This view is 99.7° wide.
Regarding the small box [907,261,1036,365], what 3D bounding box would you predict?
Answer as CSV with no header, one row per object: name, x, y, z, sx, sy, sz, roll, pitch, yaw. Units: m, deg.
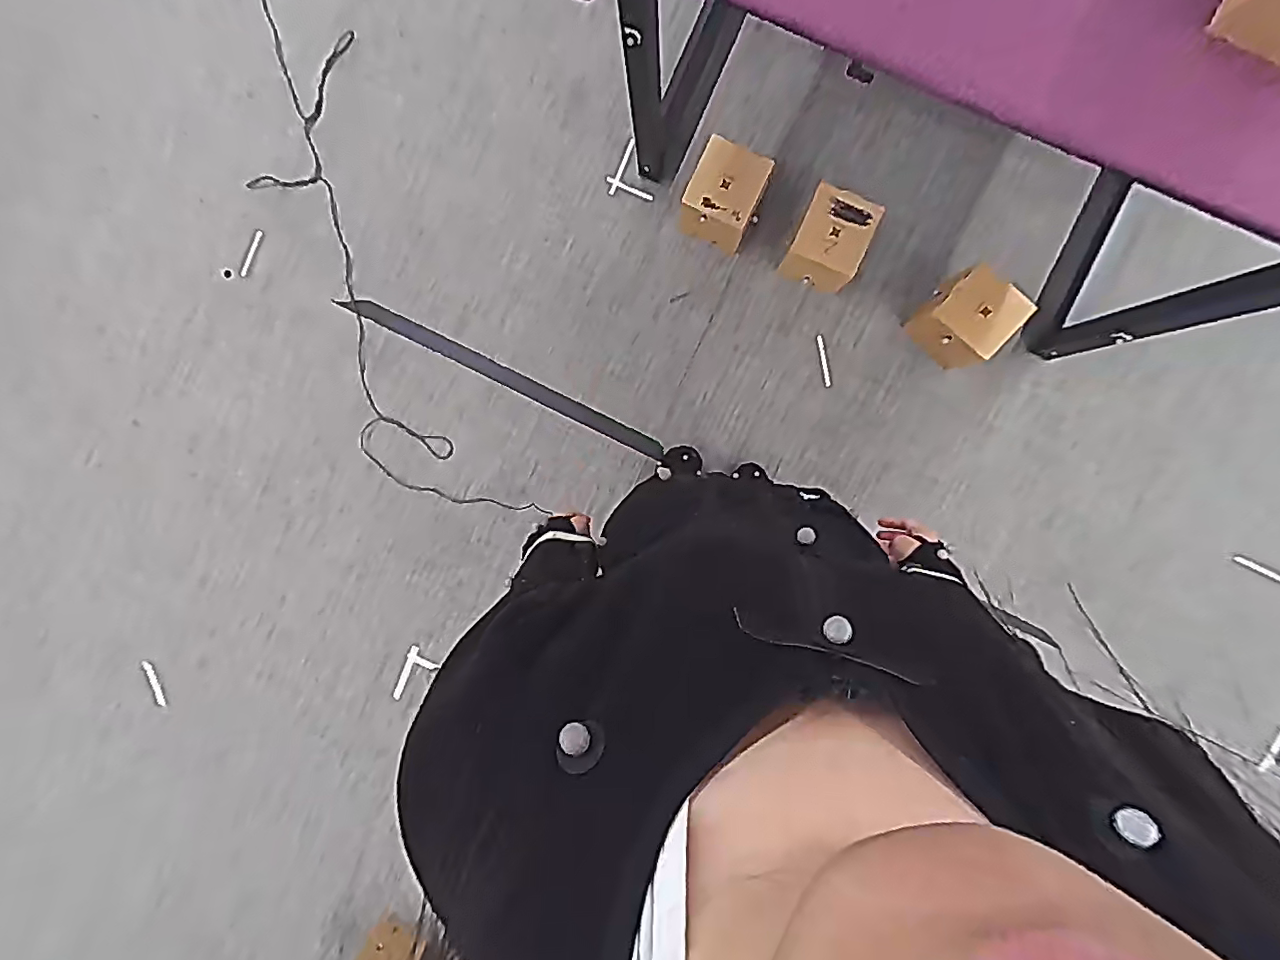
small box,0.814,-0.404,1.345,0.179,0.176,0.168,42,96,1

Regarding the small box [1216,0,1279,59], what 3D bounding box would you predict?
small box,0.832,-0.600,0.597,0.179,0.176,0.168,27,94,2

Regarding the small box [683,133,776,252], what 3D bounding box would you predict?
small box,0.215,-0.712,1.361,0.168,0.176,0.179,27,94,1
